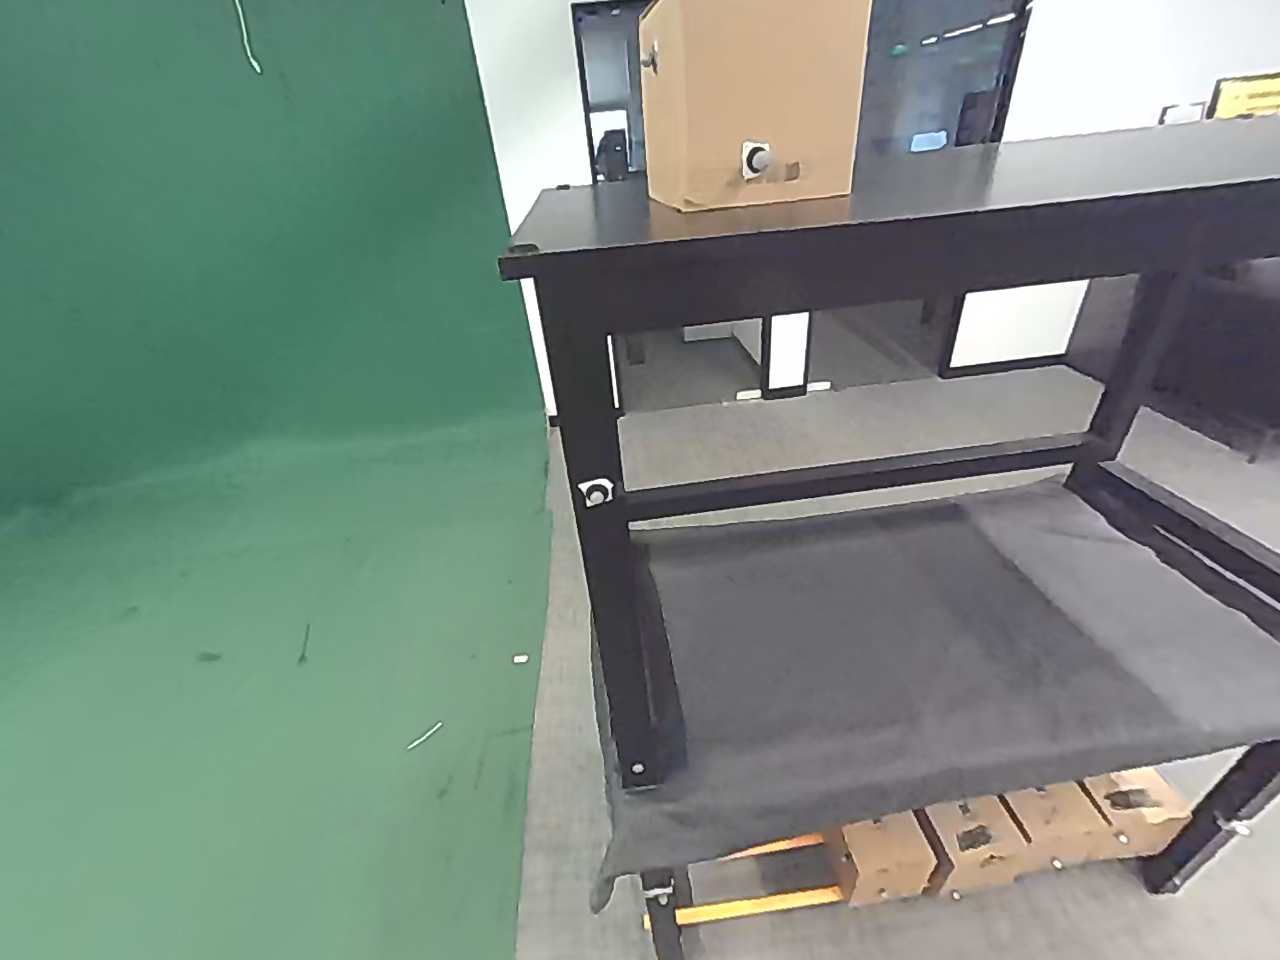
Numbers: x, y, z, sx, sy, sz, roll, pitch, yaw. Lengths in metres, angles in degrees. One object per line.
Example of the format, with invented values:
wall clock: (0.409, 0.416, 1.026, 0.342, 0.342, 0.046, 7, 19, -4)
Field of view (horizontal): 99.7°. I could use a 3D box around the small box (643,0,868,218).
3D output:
small box: (0.101, -0.368, 0.543, 0.168, 0.176, 0.179, -10, 33, -5)
